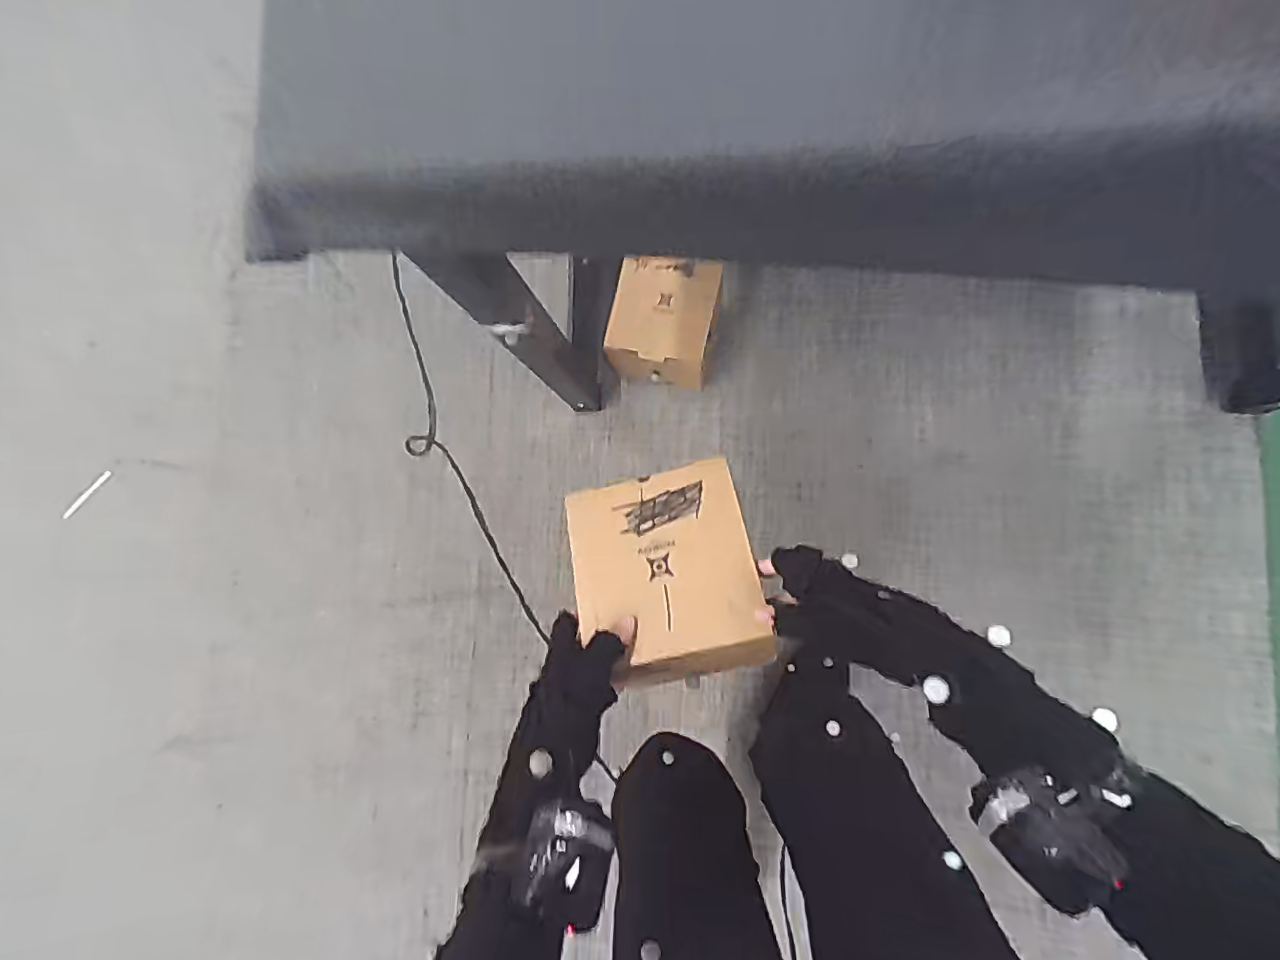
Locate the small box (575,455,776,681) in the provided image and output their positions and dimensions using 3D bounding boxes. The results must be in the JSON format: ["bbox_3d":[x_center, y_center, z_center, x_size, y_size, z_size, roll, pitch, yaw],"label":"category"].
[{"bbox_3d":[0.041,0.102,0.573,0.168,0.176,0.179,-14,62,8],"label":"small box"}]
